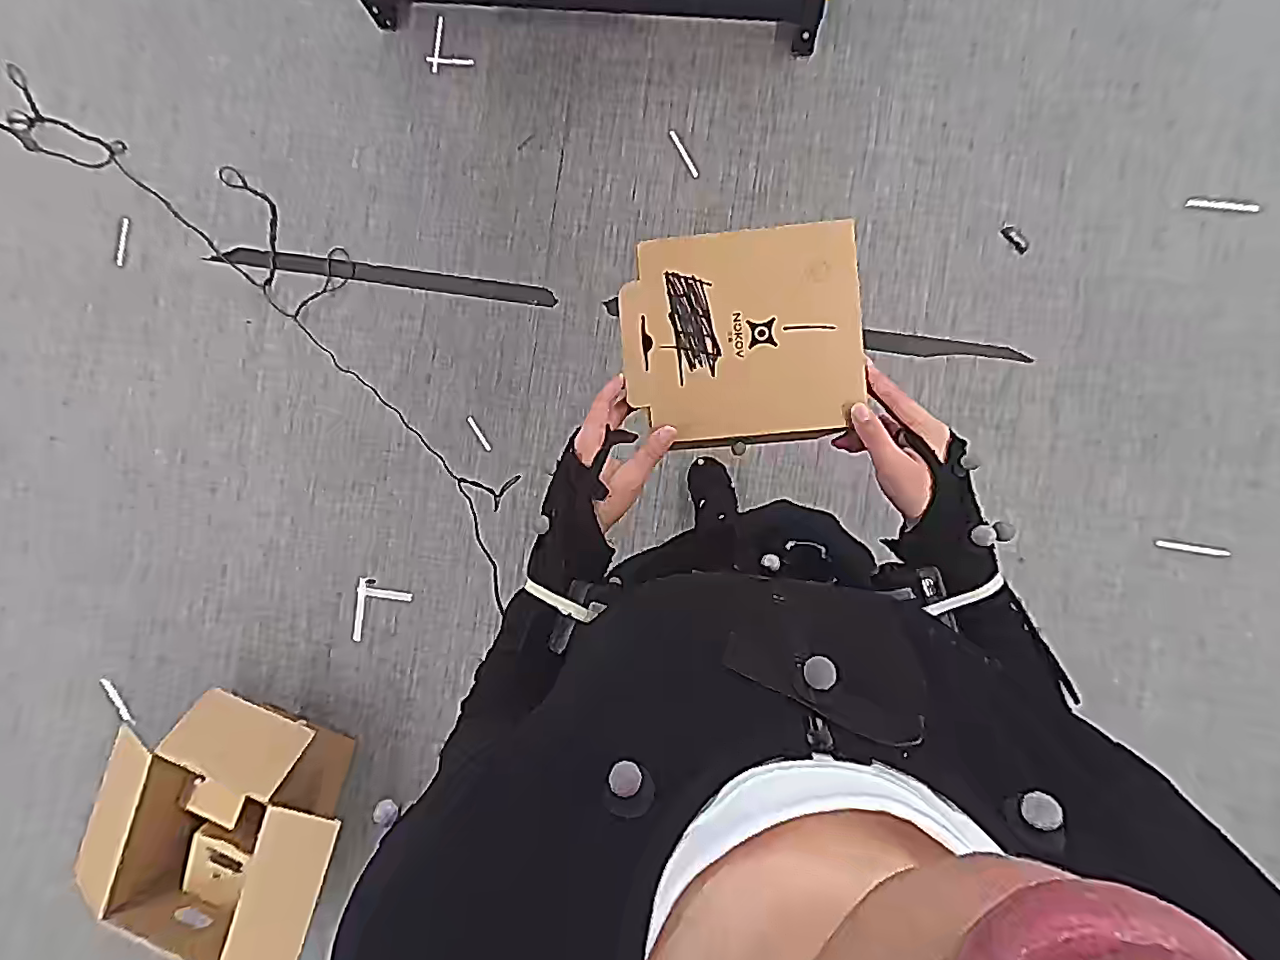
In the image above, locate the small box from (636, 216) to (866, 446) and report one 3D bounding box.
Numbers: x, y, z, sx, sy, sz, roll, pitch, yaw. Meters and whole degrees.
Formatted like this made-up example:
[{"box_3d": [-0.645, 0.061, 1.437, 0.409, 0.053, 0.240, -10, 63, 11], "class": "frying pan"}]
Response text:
[{"box_3d": [0.094, -0.123, 0.513, 0.179, 0.176, 0.168, -4, 91, 3], "class": "small box"}]
